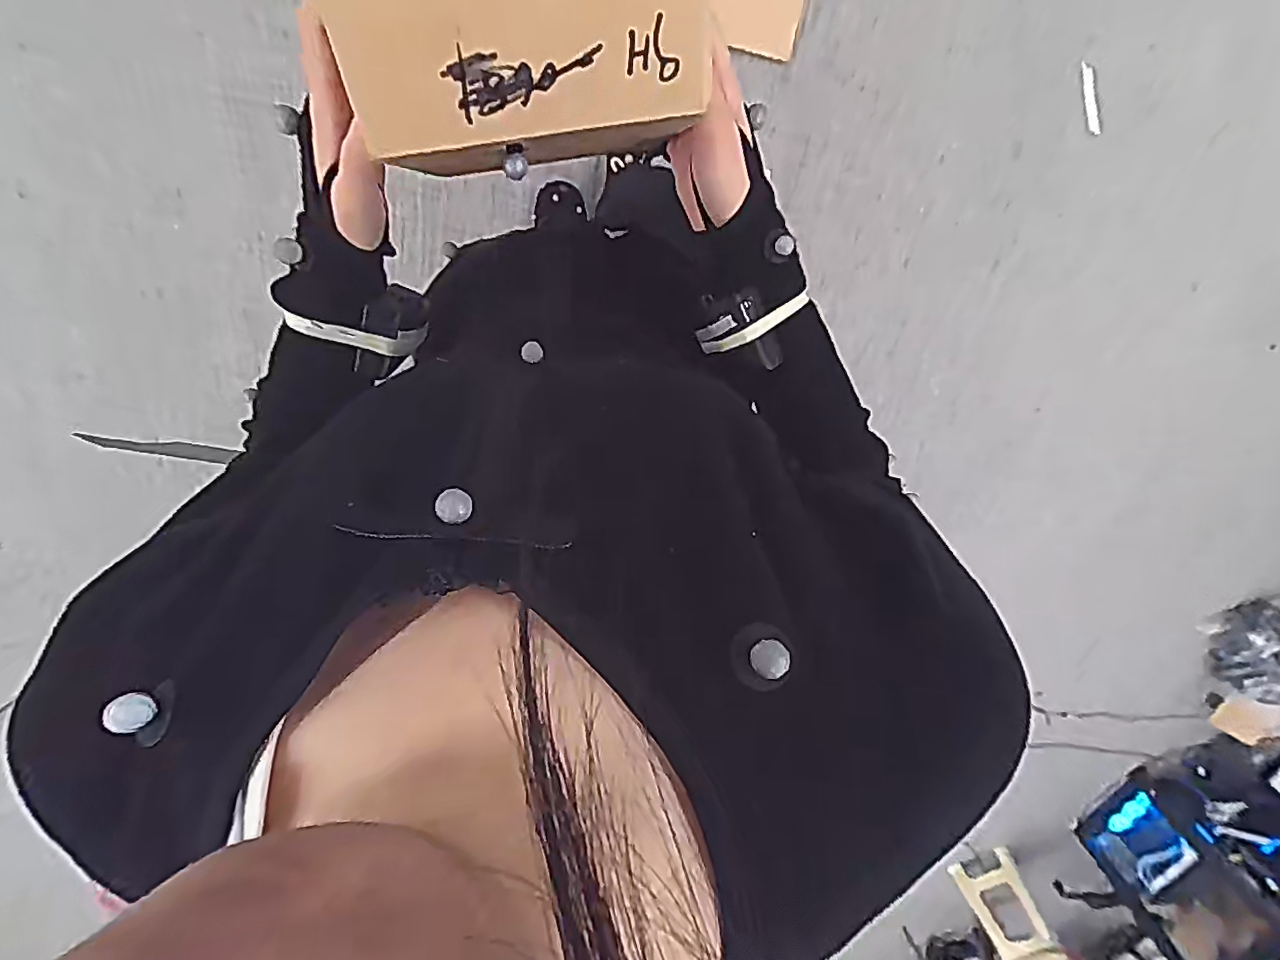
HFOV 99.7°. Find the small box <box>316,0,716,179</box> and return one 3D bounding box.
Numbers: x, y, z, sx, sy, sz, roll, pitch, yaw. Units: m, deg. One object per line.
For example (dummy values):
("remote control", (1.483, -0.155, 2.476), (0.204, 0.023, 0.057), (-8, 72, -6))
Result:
("small box", (-0.066, -0.270, 0.281), (0.168, 0.176, 0.179), (-11, 117, -3))
